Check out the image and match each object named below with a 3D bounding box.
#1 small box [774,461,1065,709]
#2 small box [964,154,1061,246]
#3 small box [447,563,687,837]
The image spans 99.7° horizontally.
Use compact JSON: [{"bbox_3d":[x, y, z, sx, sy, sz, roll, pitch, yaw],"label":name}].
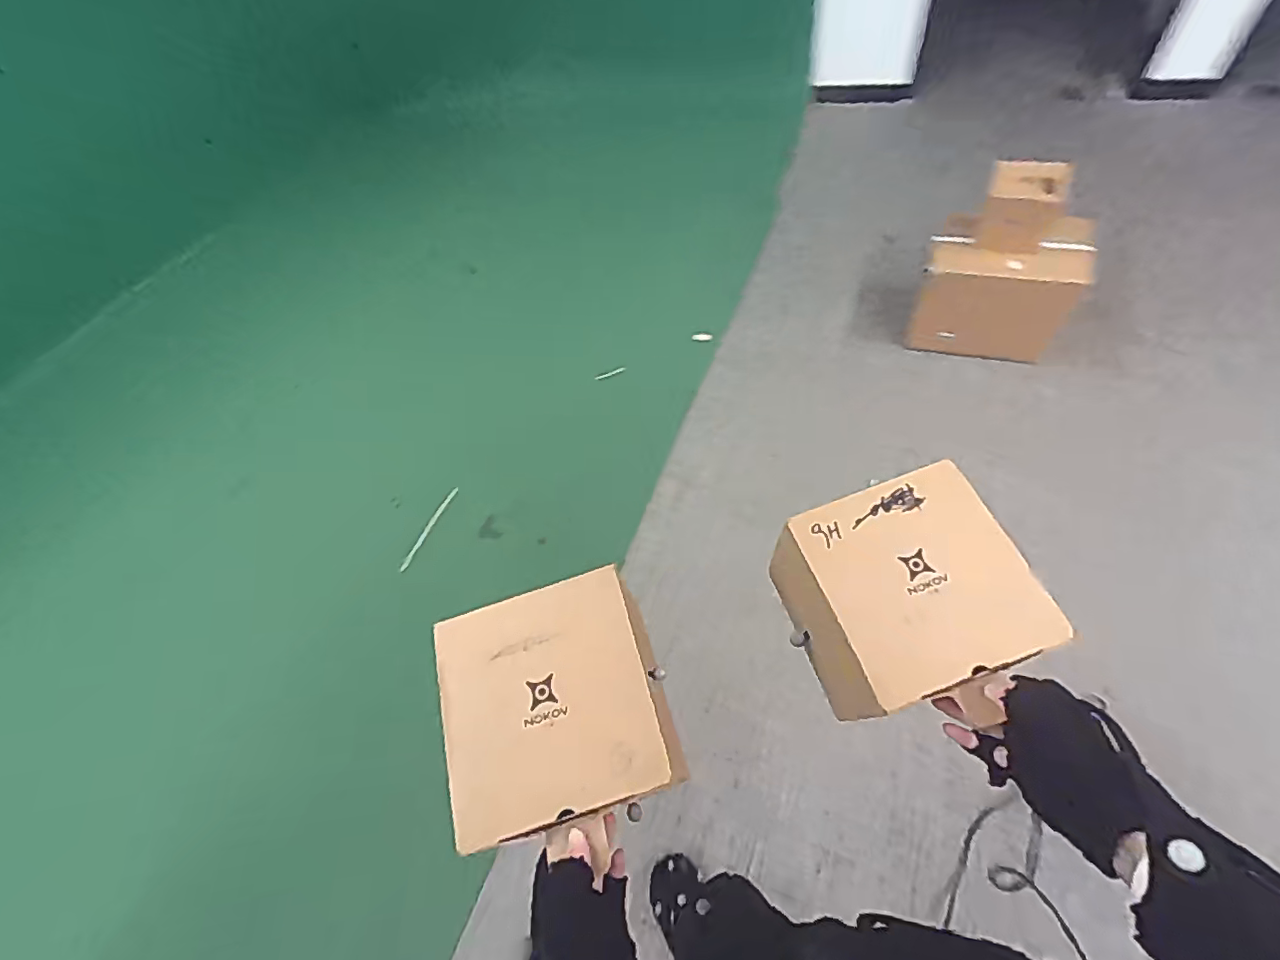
[{"bbox_3d":[0.248,0.112,0.535,0.168,0.176,0.179,-19,65,-2],"label":"small box"},{"bbox_3d":[1.056,-0.793,1.540,0.179,0.176,0.168,13,67,18],"label":"small box"},{"bbox_3d":[-0.060,0.204,0.511,0.168,0.176,0.179,-18,62,-1],"label":"small box"}]
